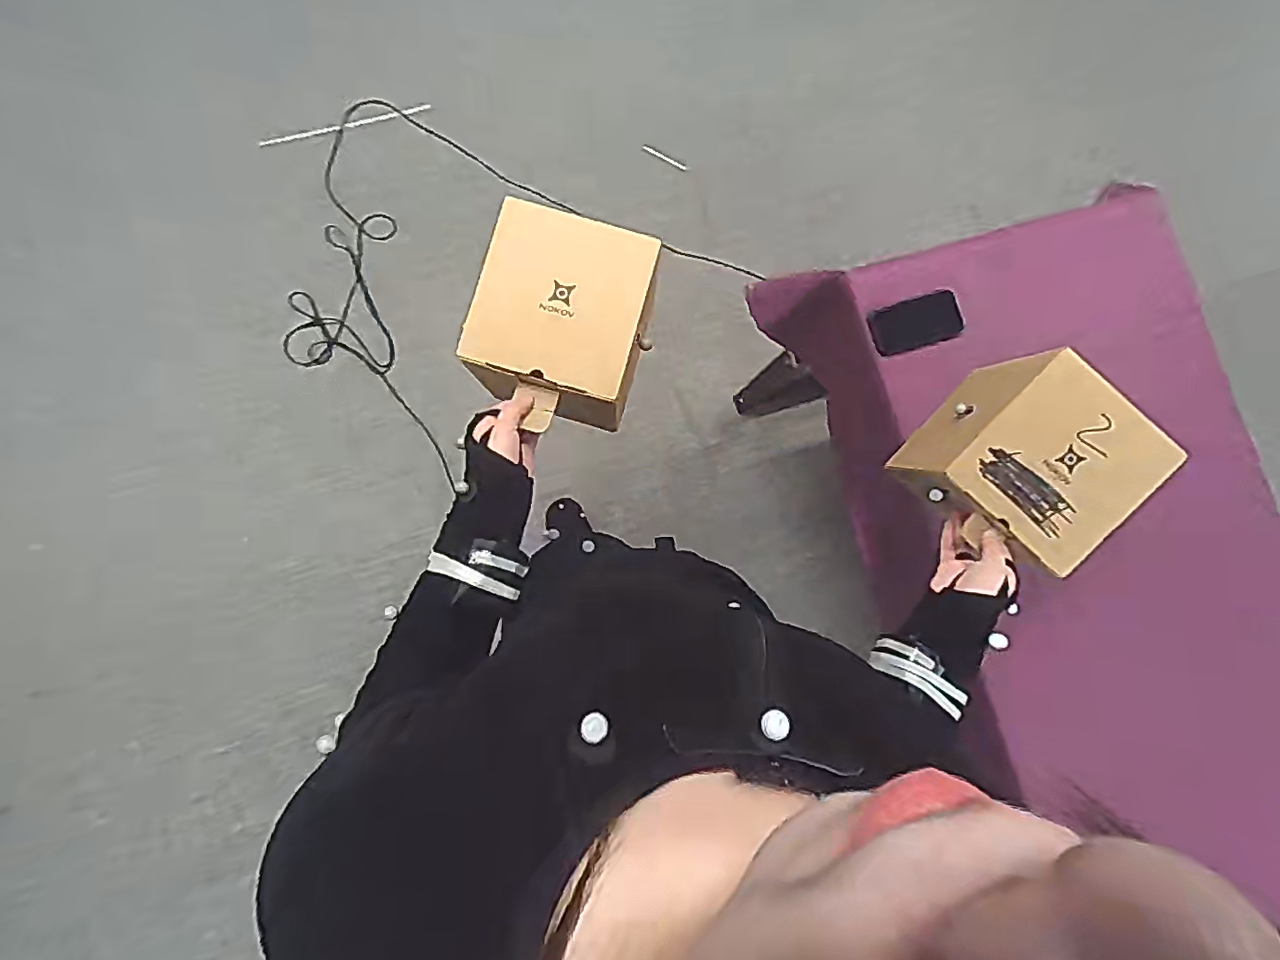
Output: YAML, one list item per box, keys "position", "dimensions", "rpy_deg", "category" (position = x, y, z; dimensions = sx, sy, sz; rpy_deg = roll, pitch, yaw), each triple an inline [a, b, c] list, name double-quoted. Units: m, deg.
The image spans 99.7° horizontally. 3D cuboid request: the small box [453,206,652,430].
- position: [-0.092, -0.171, 0.627]
  dimensions: [0.168, 0.176, 0.179]
  rpy_deg: [15, 85, -1]
  category: "small box"
